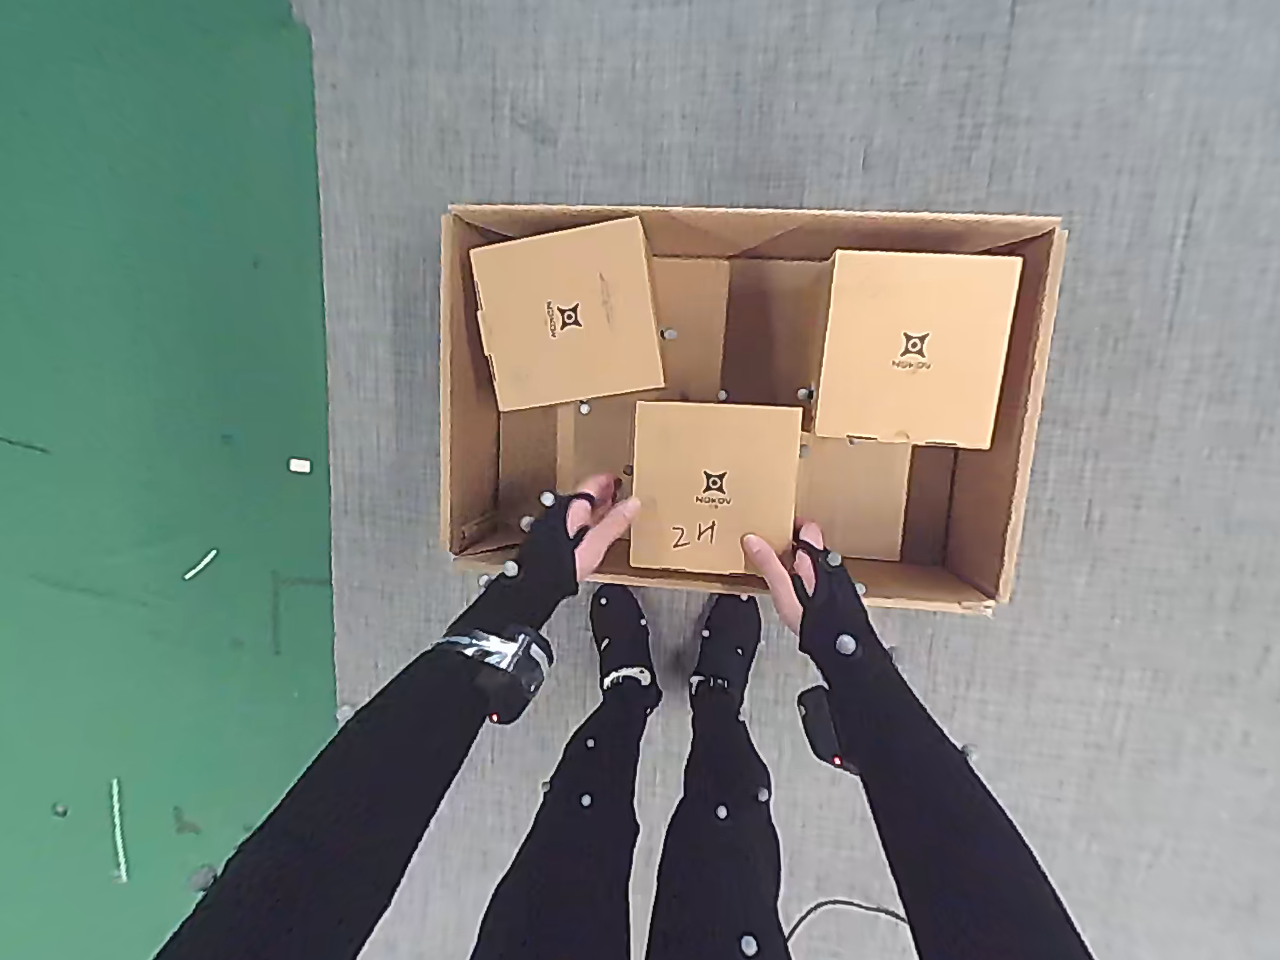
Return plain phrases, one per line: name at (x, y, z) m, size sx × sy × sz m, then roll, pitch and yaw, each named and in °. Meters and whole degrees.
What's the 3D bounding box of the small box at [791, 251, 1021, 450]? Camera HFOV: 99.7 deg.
small box at (0.266, -0.132, 0.585) m, size 0.168 × 0.176 × 0.179 m, roll 5°, pitch 99°, yaw 6°
